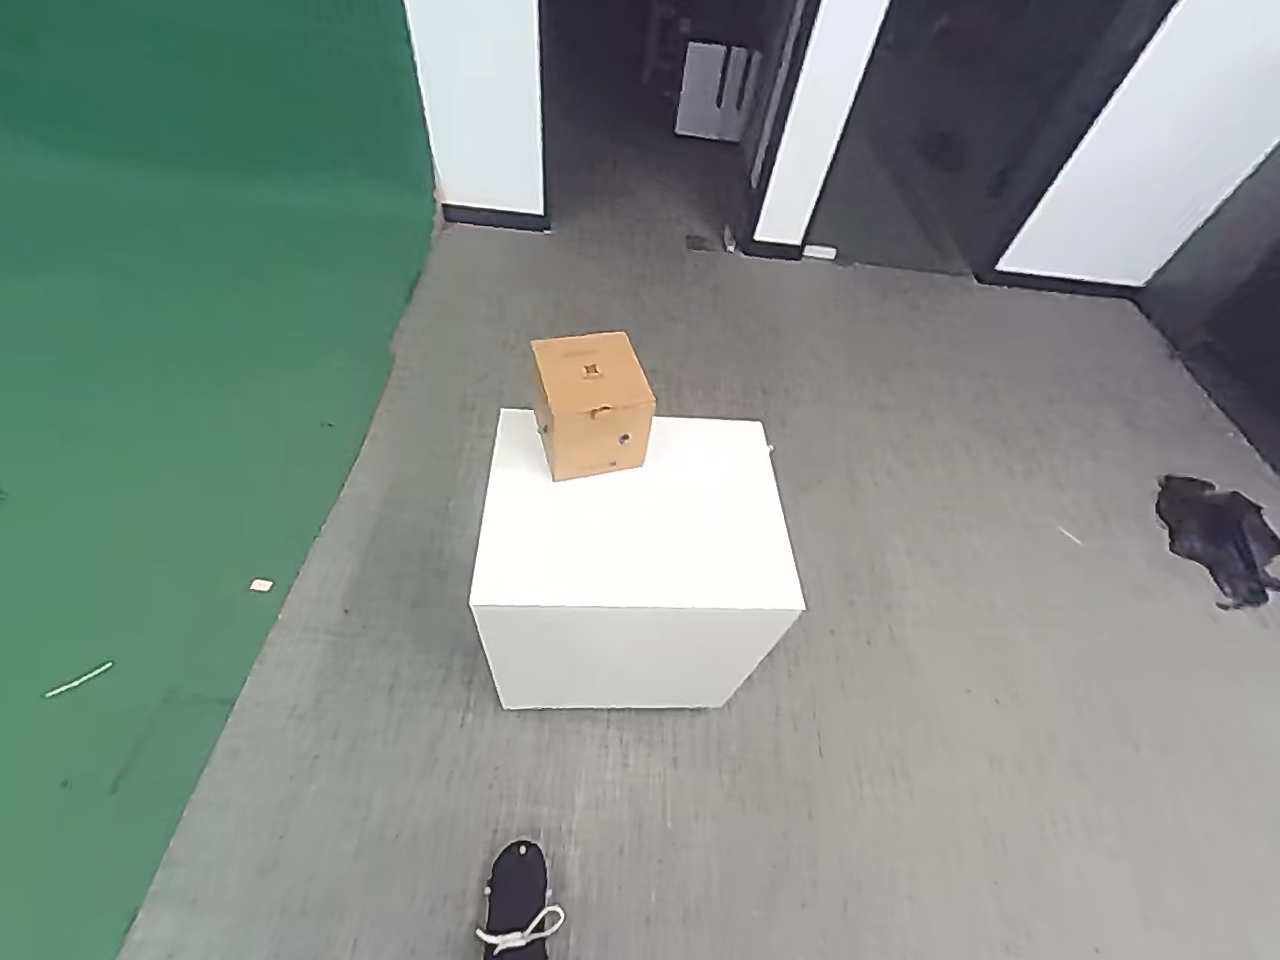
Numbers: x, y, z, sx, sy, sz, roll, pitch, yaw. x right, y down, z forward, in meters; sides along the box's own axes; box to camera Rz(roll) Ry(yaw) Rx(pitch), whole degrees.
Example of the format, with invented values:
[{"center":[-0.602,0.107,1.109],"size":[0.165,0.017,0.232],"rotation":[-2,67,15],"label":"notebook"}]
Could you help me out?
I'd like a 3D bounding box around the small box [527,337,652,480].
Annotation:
[{"center":[-0.091,-0.116,0.921],"size":[0.168,0.176,0.179],"rotation":[-11,55,-17],"label":"small box"}]
